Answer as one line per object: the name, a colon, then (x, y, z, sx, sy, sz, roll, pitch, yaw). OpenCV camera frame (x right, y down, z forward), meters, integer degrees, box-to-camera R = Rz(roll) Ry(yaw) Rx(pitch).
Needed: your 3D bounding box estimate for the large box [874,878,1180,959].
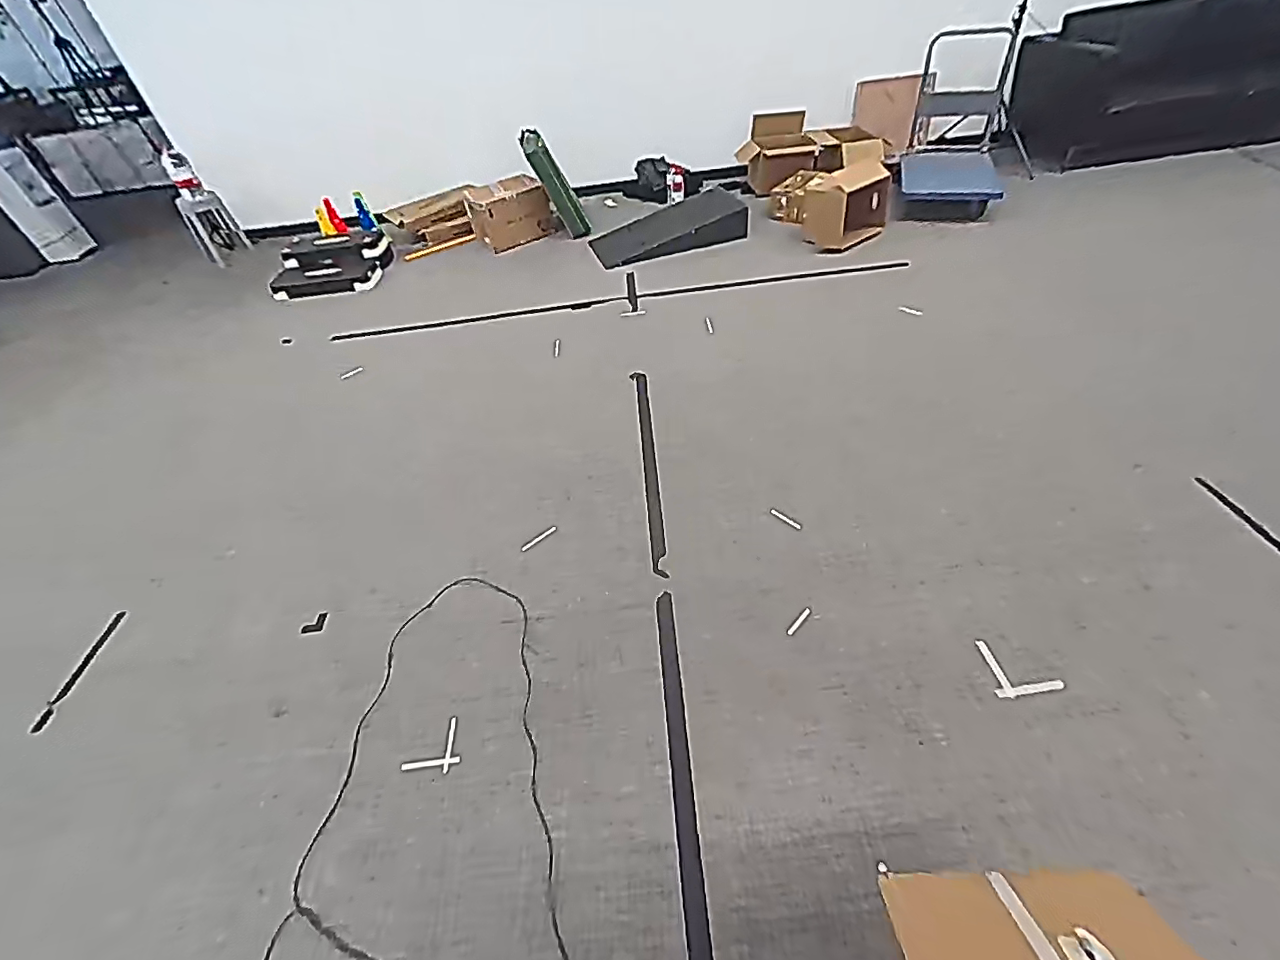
large box: (0.481, 0.718, 0.570, 0.320, 0.408, 0.320, -6, 87, 9)
